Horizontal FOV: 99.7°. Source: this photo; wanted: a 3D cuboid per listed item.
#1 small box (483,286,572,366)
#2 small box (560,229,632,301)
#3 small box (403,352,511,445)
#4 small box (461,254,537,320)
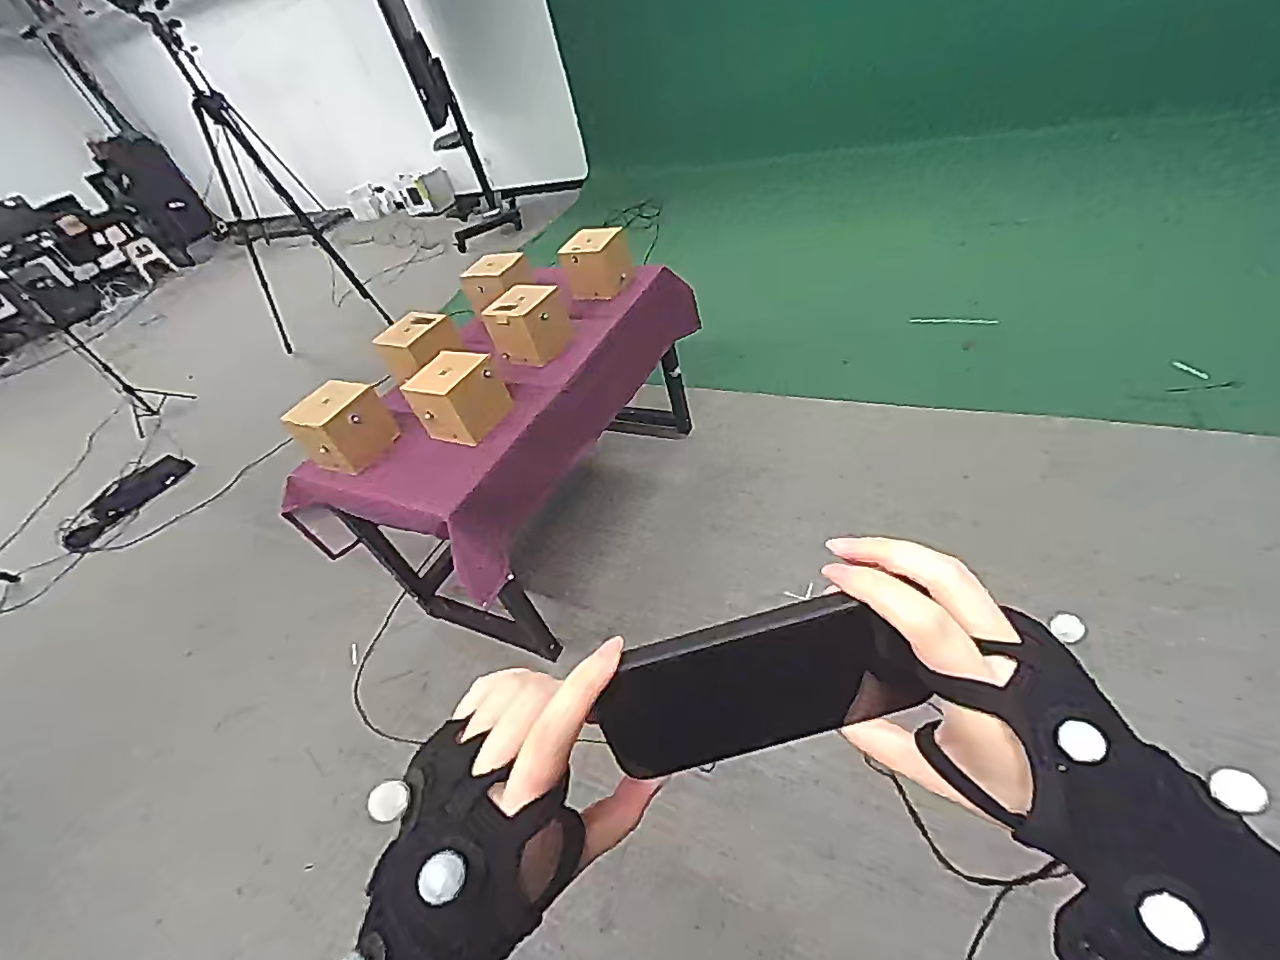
[{"bbox_3d":[-0.326,-0.458,1.614,0.168,0.176,0.179,13,50,29],"label":"small box"},{"bbox_3d":[-0.141,-0.727,1.829,0.168,0.176,0.179,9,49,27],"label":"small box"},{"bbox_3d":[-0.464,-0.210,1.404,0.168,0.176,0.179,11,49,28],"label":"small box"},{"bbox_3d":[-0.477,-0.664,1.875,0.179,0.176,0.168,8,49,25],"label":"small box"}]
